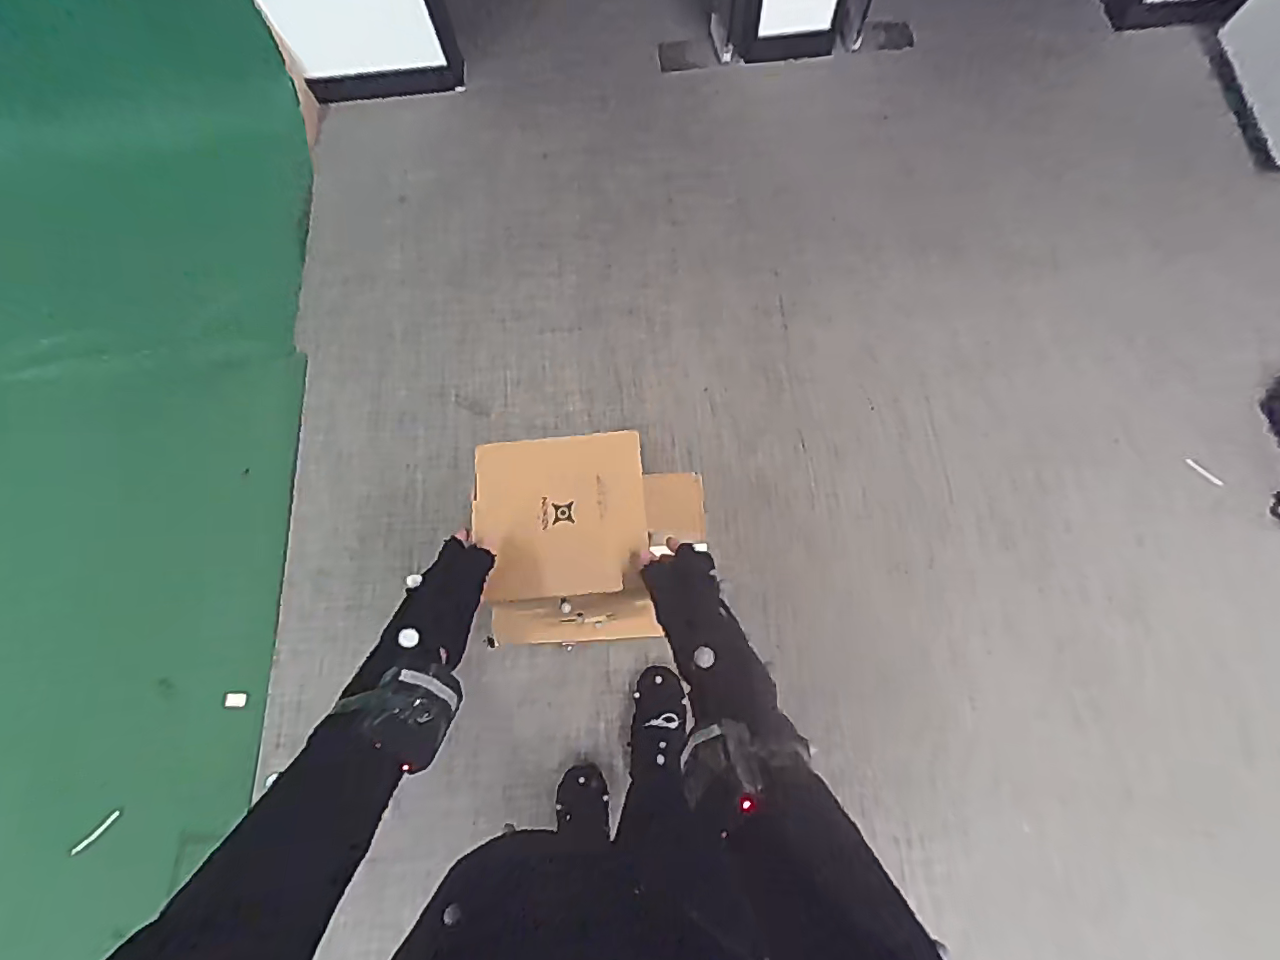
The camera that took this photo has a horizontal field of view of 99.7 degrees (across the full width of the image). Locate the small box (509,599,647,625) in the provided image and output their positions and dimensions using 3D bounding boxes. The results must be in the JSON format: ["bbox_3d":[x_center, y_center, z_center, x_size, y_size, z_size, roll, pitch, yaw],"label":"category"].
[{"bbox_3d":[-0.081,0.119,0.778,0.179,0.176,0.168,-4,74,2],"label":"small box"}]

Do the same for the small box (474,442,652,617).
[{"bbox_3d":[-0.079,0.067,0.624,0.179,0.176,0.168,-6,75,-1],"label":"small box"}]
